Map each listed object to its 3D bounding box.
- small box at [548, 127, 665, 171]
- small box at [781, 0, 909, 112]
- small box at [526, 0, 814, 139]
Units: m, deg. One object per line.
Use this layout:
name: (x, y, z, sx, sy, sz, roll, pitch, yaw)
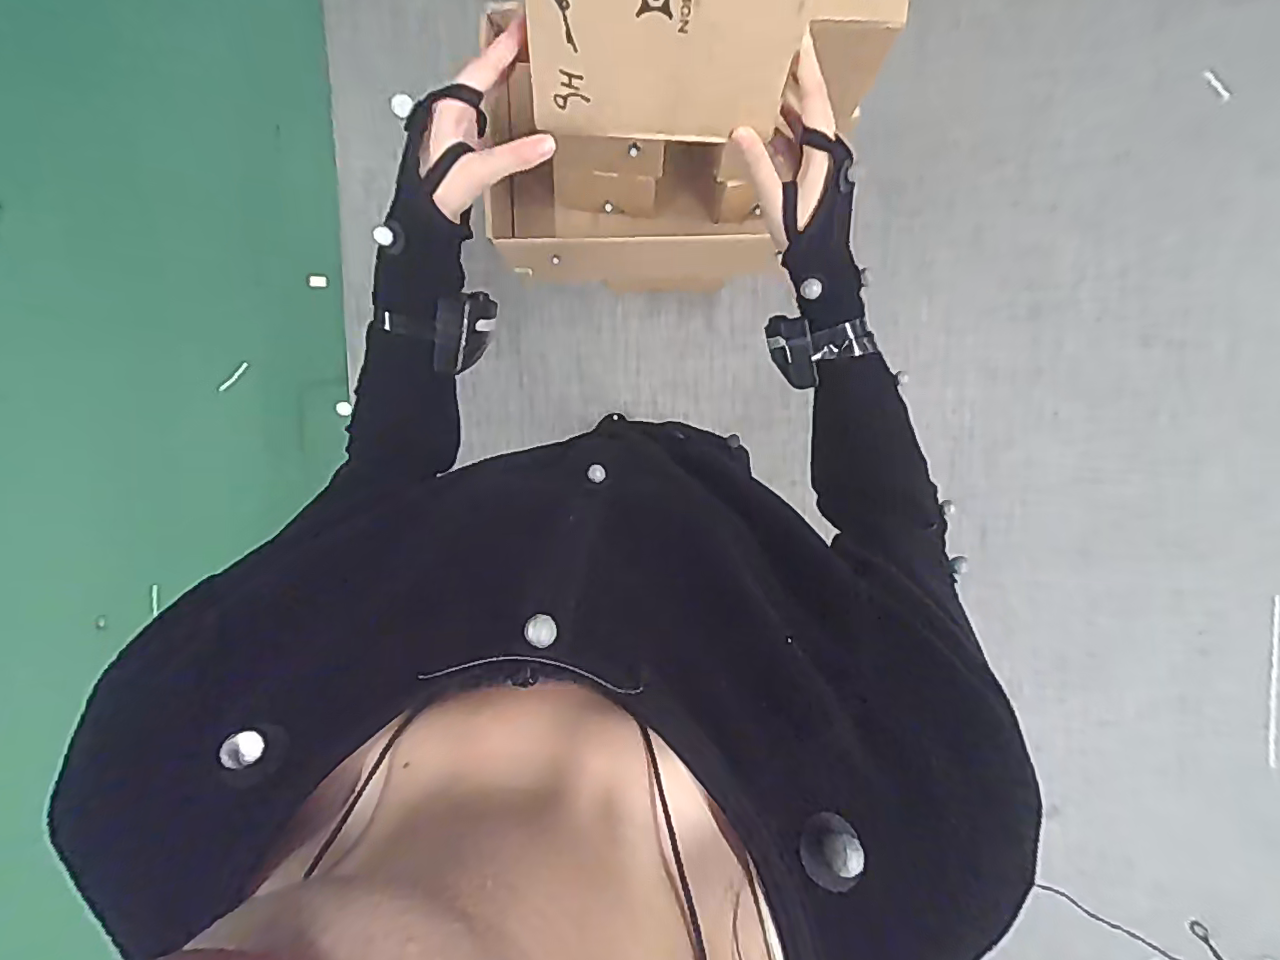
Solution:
small box: (-0.041, -0.584, 0.797, 0.179, 0.176, 0.168, 6, 94, 0)
small box: (0.194, -0.556, 0.621, 0.179, 0.176, 0.168, 4, 95, 4)
small box: (0.015, -0.359, 0.354, 0.179, 0.168, 0.176, -1, 63, -6)
